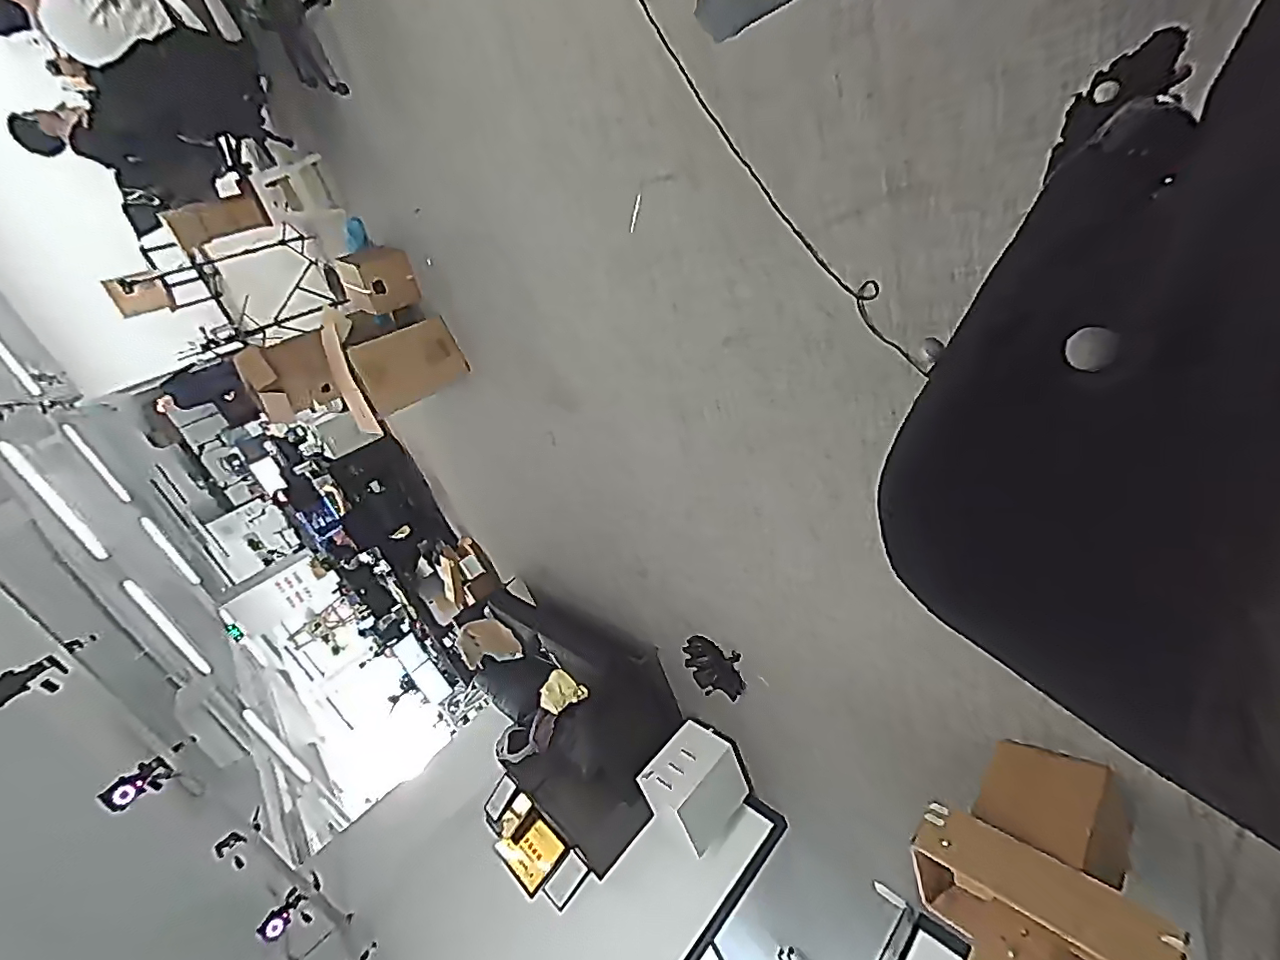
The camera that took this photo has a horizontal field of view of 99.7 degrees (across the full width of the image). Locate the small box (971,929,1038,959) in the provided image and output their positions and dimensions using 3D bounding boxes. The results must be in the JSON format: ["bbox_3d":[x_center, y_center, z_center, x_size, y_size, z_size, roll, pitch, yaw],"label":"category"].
[{"bbox_3d":[1.028,1.416,1.496,0.168,0.176,0.179,2,122,52],"label":"small box"}]

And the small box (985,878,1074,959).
[{"bbox_3d":[1.141,1.330,1.579,0.168,0.176,0.179,0,122,52],"label":"small box"}]
